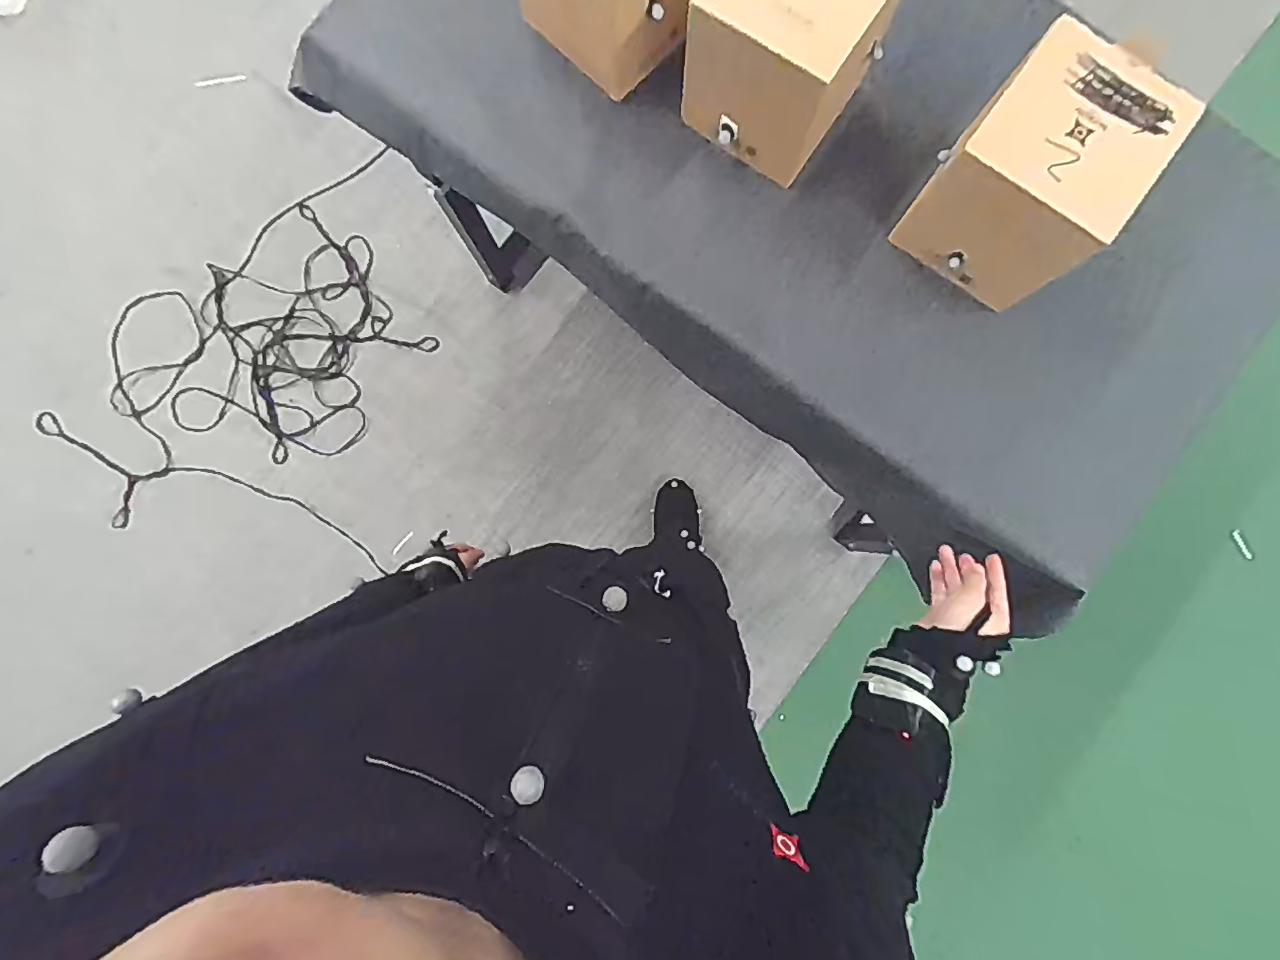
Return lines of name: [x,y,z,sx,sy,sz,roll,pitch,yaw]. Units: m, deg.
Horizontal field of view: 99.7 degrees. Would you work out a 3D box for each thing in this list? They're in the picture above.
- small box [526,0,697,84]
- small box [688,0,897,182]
small box: [-0.032,-0.612,0.624,0.179,0.176,0.168,44,86,4]
small box: [0.166,-0.494,0.615,0.168,0.176,0.179,33,86,4]
